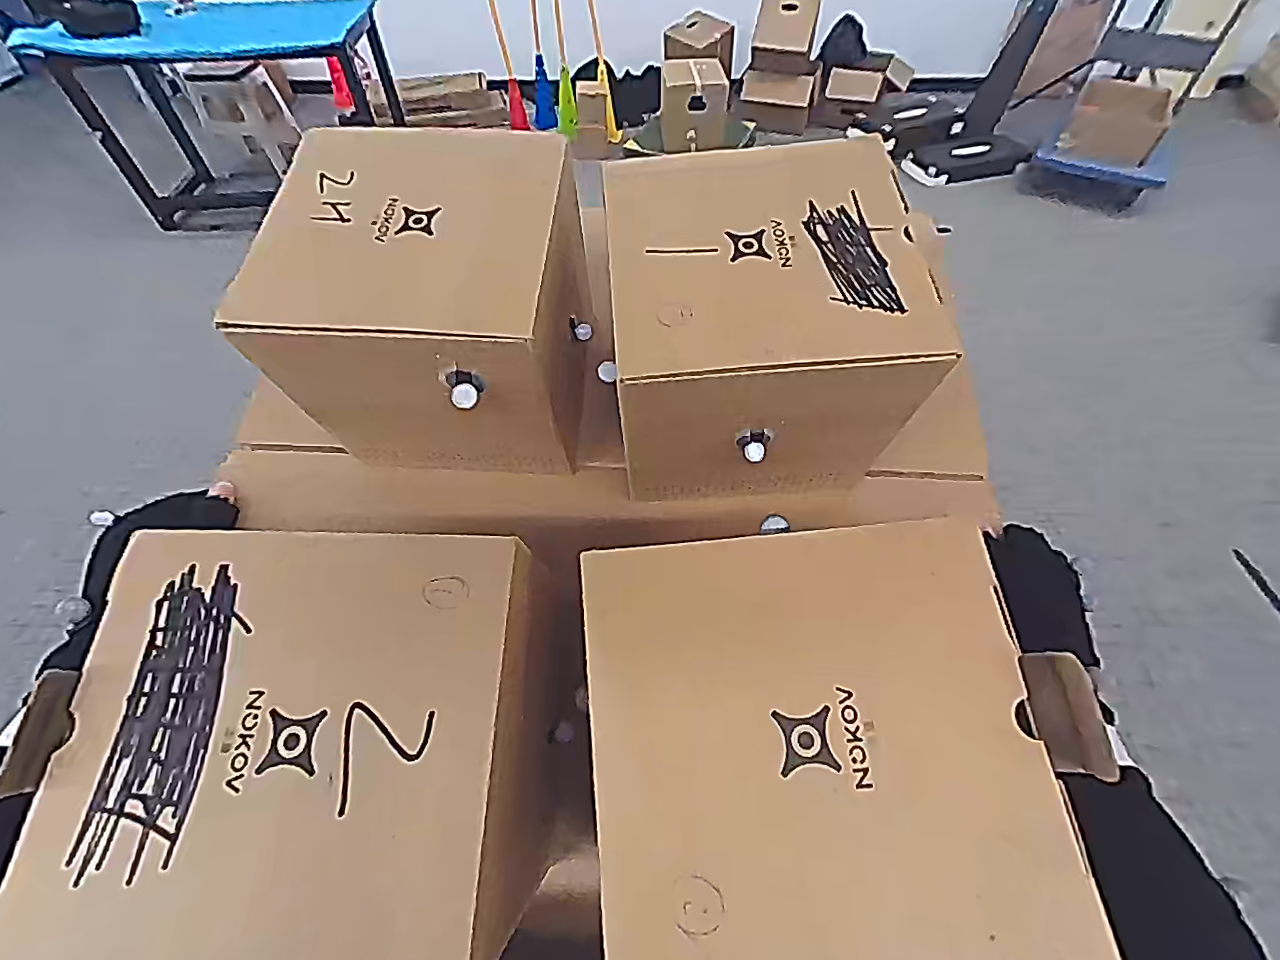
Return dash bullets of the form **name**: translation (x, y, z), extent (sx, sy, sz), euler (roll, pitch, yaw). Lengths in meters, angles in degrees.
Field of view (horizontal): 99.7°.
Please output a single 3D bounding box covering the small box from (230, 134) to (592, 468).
- **small box**: translation (-0.135, -0.119, 0.401), extent (0.179, 0.176, 0.168), euler (4, 65, 3)
